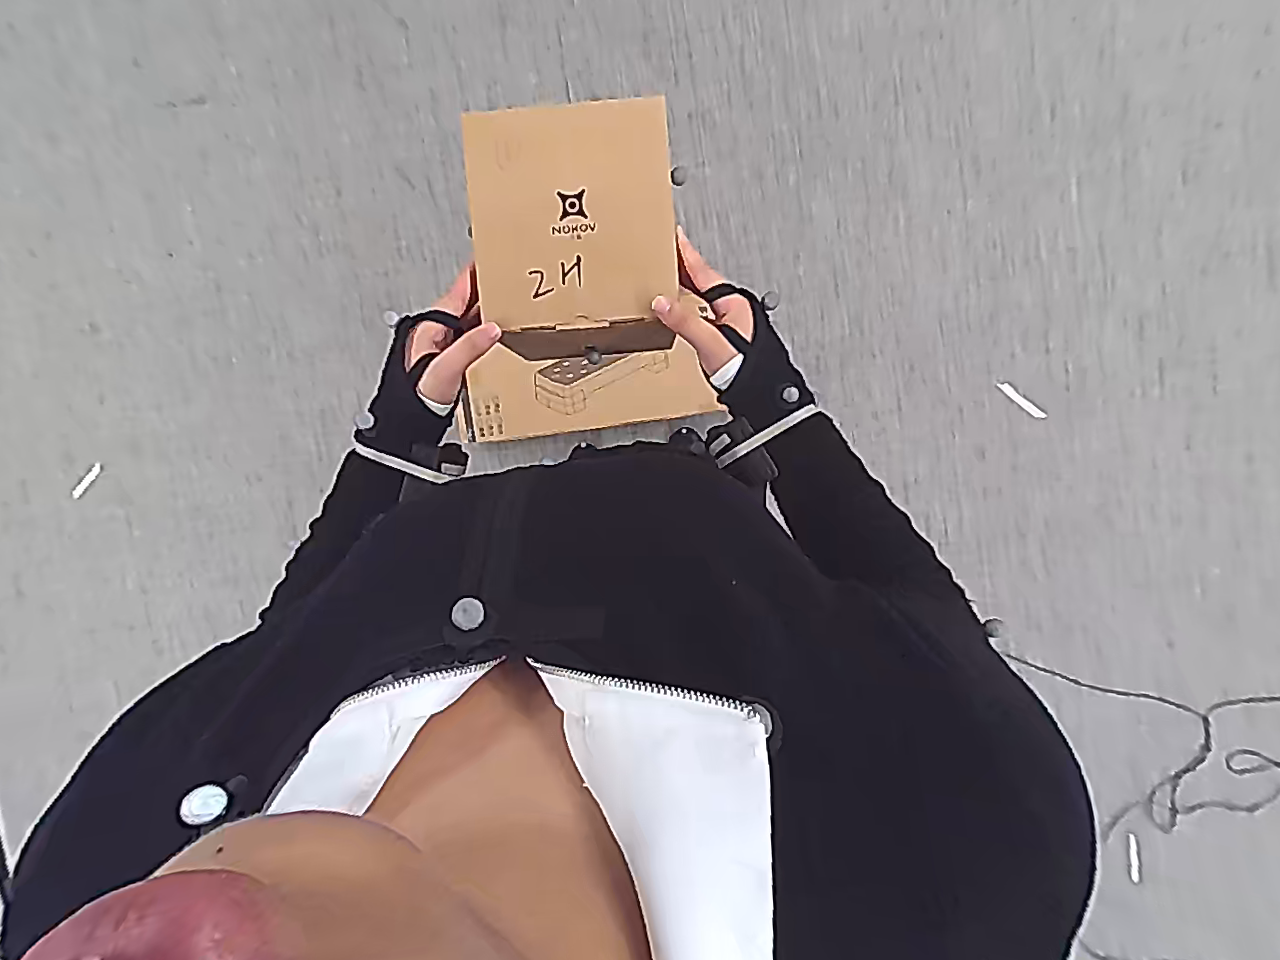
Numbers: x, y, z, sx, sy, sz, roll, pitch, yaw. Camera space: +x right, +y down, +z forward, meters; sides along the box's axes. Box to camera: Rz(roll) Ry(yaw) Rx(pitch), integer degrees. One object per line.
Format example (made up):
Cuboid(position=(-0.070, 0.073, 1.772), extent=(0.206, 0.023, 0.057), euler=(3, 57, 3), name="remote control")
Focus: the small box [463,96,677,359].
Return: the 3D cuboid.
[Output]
Cuboid(position=(-0.056, -0.220, 0.516), extent=(0.168, 0.176, 0.179), euler=(-4, 94, 1), name="small box")
